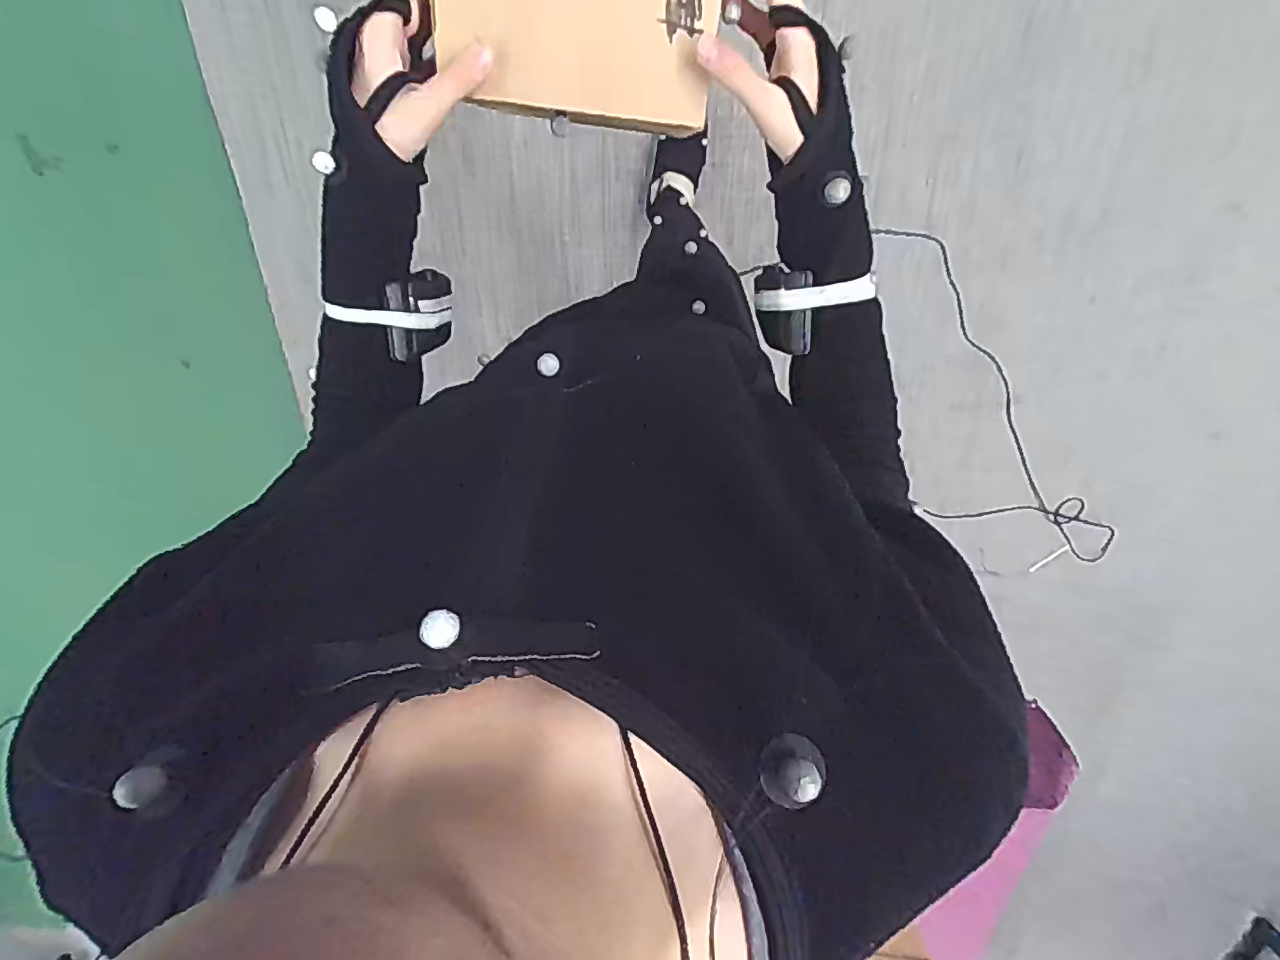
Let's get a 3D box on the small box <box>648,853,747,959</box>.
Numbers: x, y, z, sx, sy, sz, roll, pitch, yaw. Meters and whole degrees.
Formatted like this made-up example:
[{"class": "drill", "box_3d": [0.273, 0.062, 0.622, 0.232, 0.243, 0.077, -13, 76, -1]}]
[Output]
[{"class": "small box", "box_3d": [0.107, 0.887, 1.090, 0.179, 0.176, 0.168, 3, 116, 0]}]
